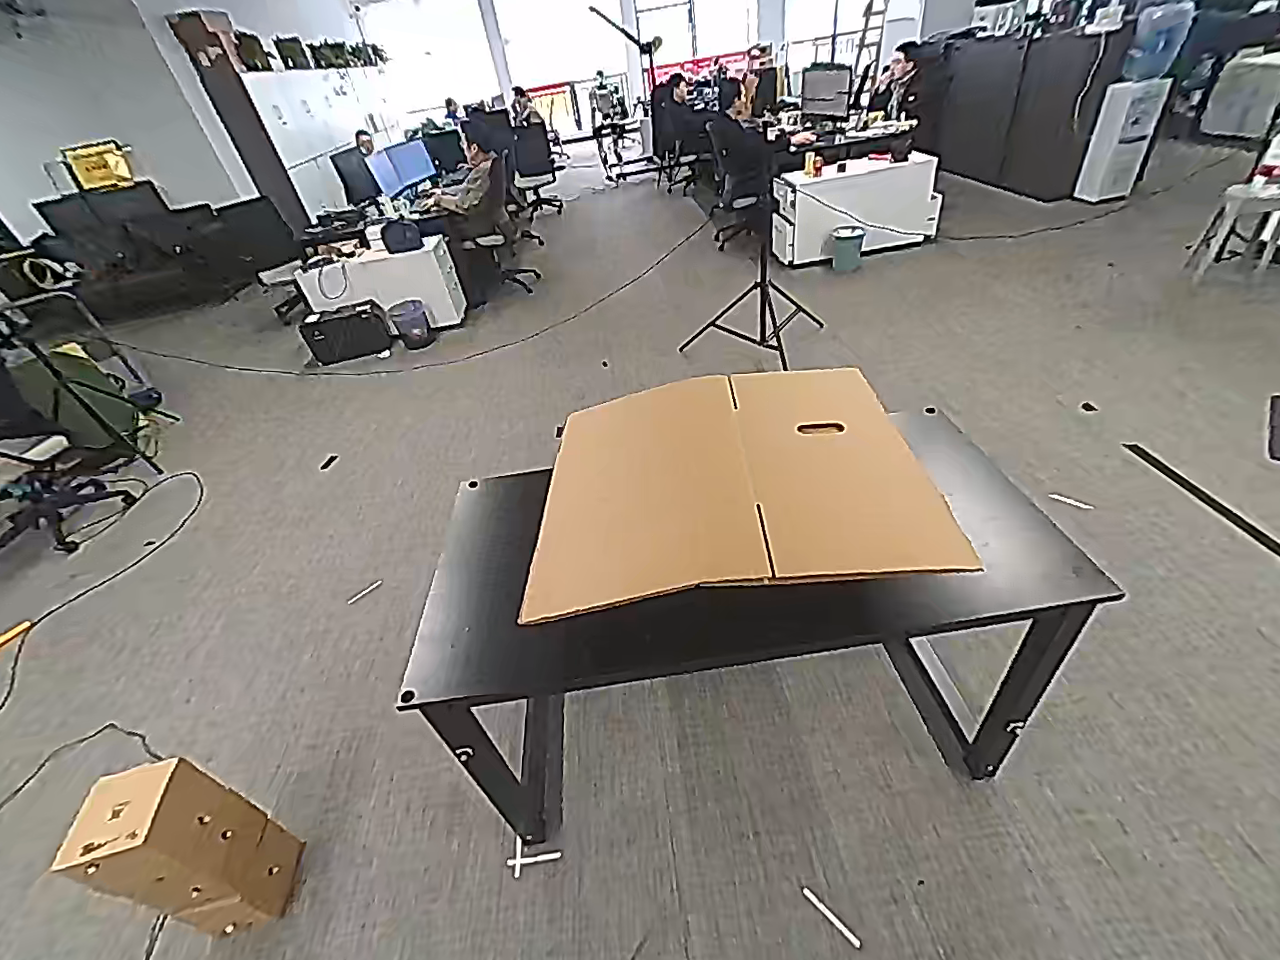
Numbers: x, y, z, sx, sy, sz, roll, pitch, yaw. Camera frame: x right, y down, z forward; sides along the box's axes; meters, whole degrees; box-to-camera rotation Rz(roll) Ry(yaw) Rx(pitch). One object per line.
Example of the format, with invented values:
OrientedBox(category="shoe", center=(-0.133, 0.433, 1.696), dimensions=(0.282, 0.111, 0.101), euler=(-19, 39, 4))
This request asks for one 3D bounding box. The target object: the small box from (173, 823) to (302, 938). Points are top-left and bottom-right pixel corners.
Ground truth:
OrientedBox(category="small box", center=(-0.974, 0.986, 1.331), dimensions=(0.168, 0.176, 0.179), euler=(-12, 39, -1))

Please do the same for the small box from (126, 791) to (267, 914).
OrientedBox(category="small box", center=(-1.000, 0.856, 1.237), dimensions=(0.168, 0.176, 0.179), euler=(-13, 37, -5))

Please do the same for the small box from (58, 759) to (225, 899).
OrientedBox(category="small box", center=(-1.022, 0.731, 1.133), dimensions=(0.168, 0.176, 0.179), euler=(-15, 37, -6))
